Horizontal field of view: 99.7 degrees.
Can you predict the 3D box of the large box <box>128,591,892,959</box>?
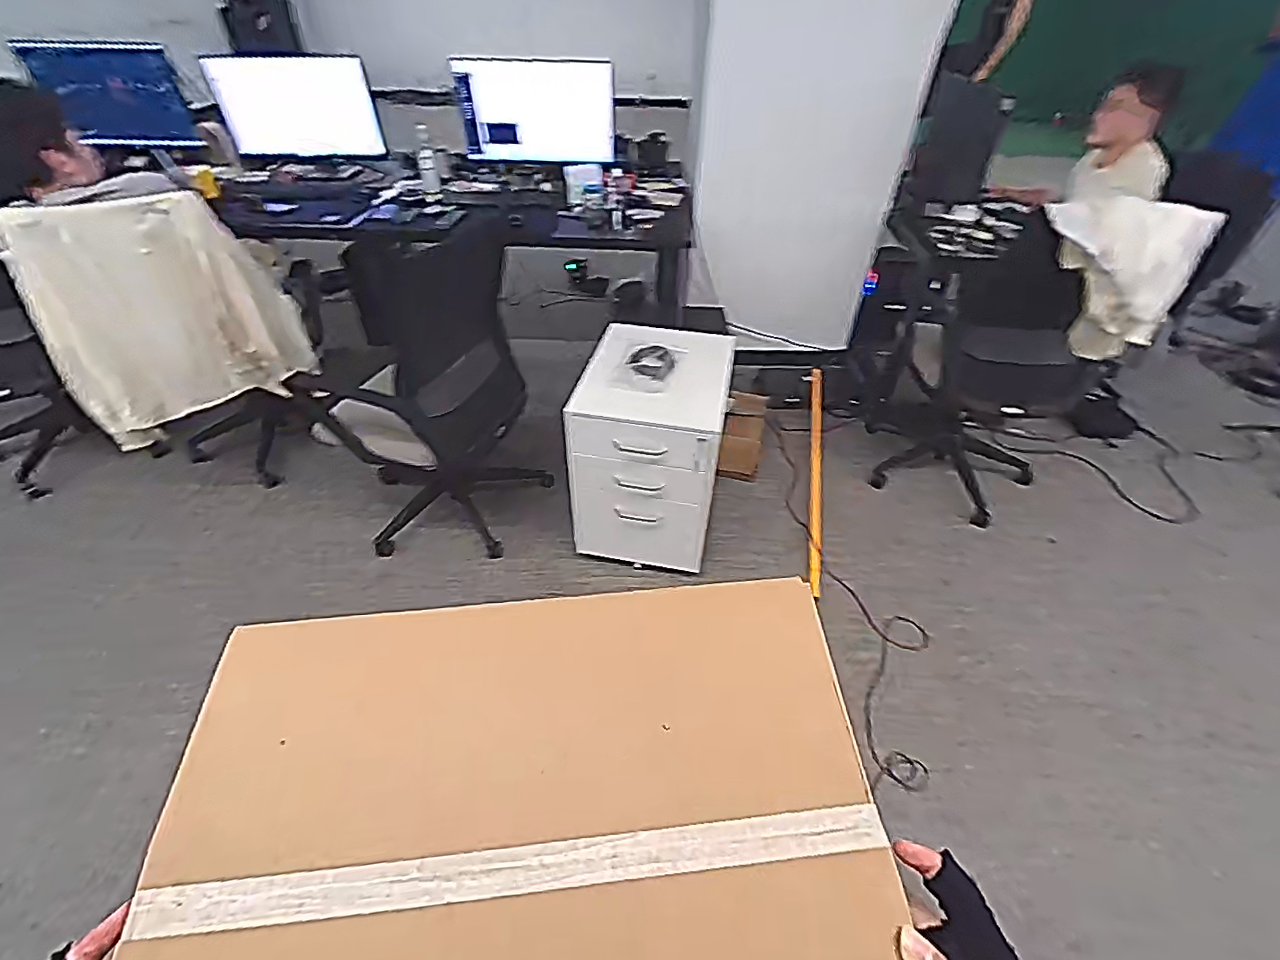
[{"bbox_3d":[-0.069,0.311,0.423,0.408,0.320,0.320,-5,53,-4],"label":"large box"}]
